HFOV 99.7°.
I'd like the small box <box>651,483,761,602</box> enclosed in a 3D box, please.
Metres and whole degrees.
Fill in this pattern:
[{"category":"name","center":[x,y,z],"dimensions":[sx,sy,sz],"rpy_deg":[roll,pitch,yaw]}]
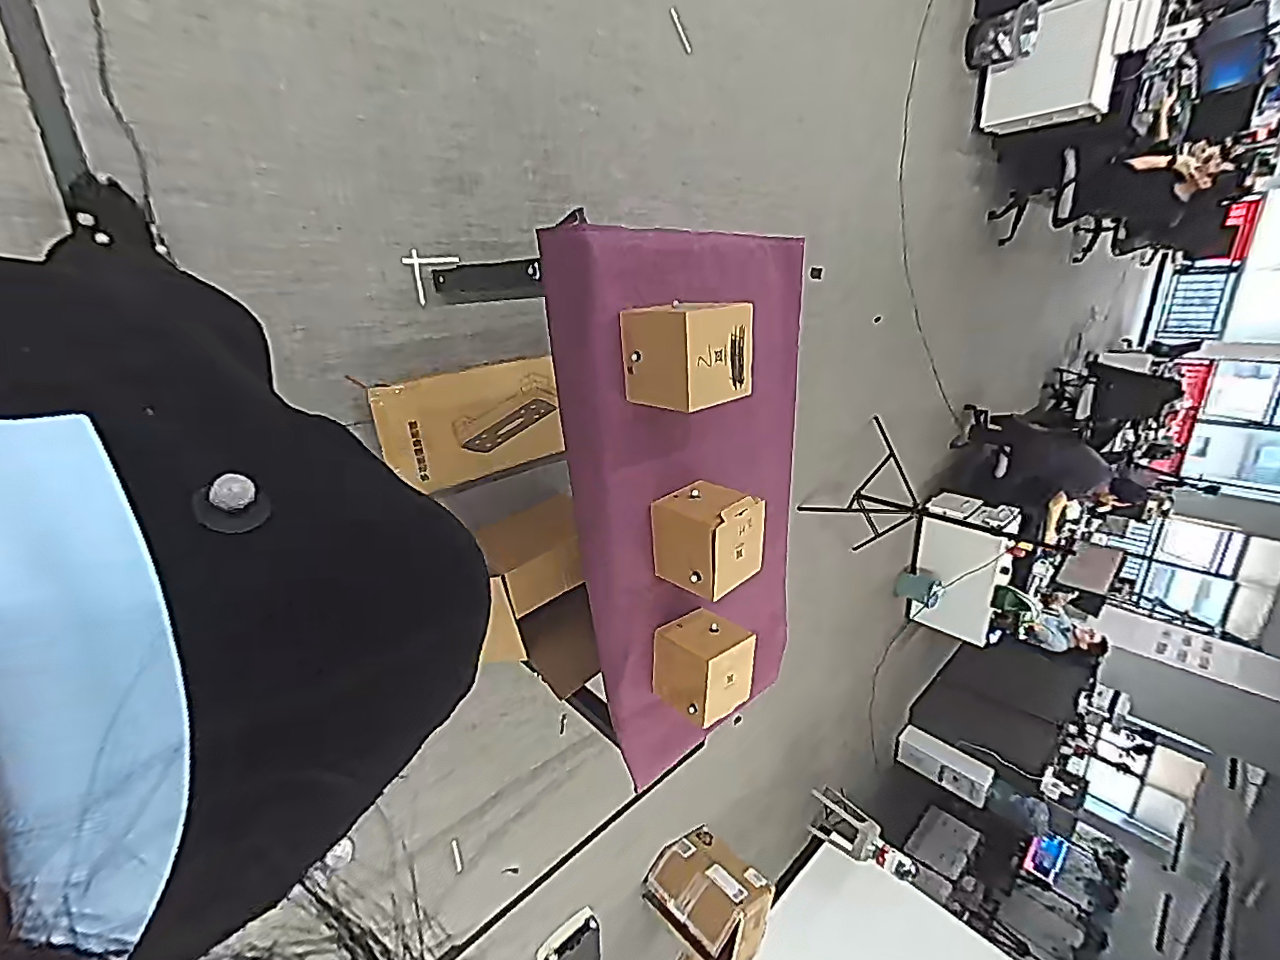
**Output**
[{"category":"small box","center":[0.139,0.125,1.156],"dimensions":[0.168,0.176,0.179],"rpy_deg":[-23,118,-40]}]

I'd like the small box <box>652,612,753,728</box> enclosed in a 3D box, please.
[{"category":"small box","center":[0.141,0.427,1.257],"dimensions":[0.168,0.176,0.179],"rpy_deg":[-13,112,-41]}]
